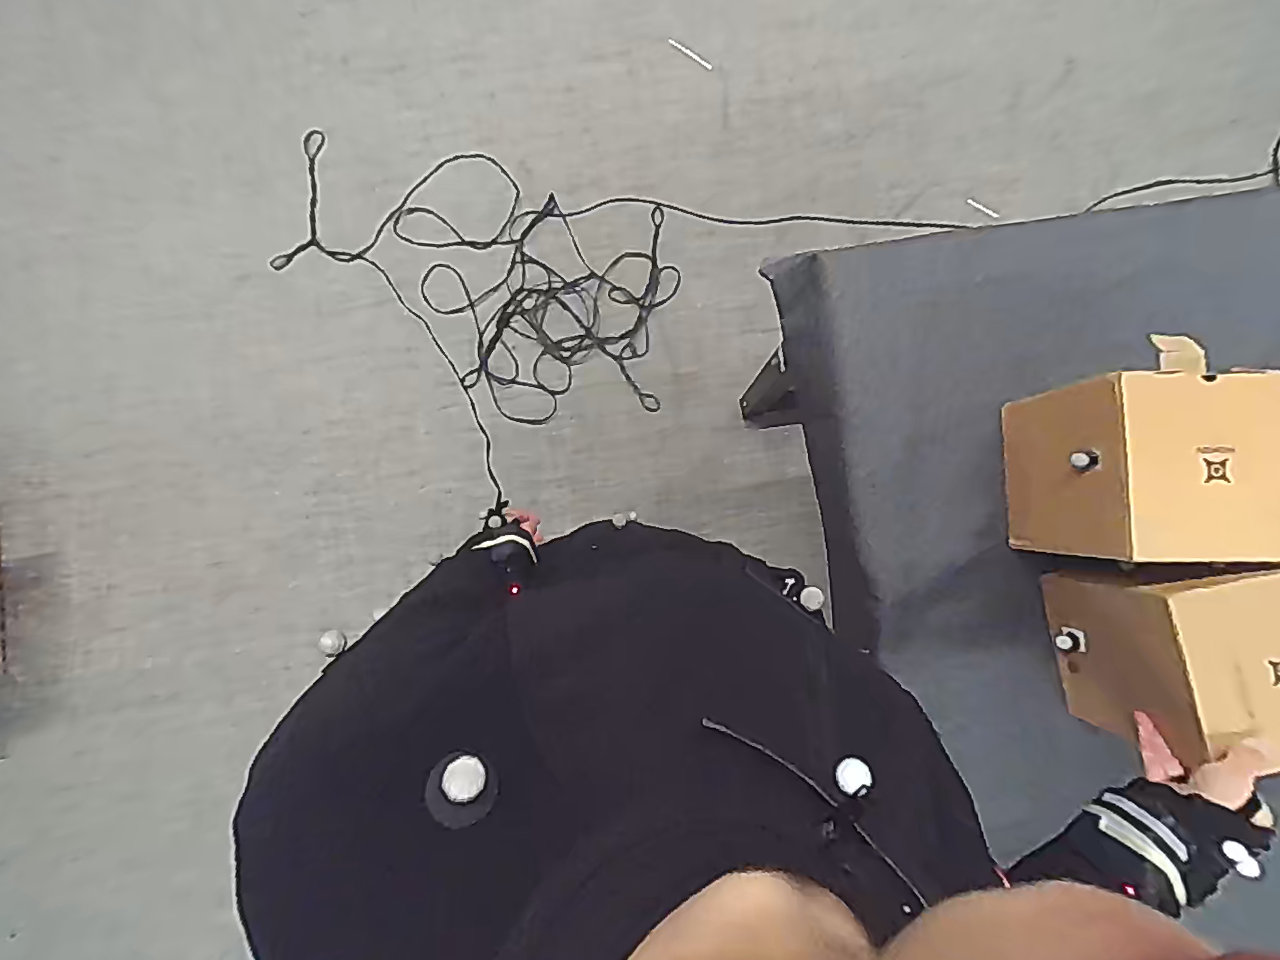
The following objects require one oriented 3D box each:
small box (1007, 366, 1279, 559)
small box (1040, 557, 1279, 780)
[{"bbox_3d":[0.522,-0.012,0.568,0.168,0.176,0.179,-1,85,0],"label":"small box"},{"bbox_3d":[0.568,0.168,0.552,0.179,0.176,0.168,-13,85,-1],"label":"small box"}]
